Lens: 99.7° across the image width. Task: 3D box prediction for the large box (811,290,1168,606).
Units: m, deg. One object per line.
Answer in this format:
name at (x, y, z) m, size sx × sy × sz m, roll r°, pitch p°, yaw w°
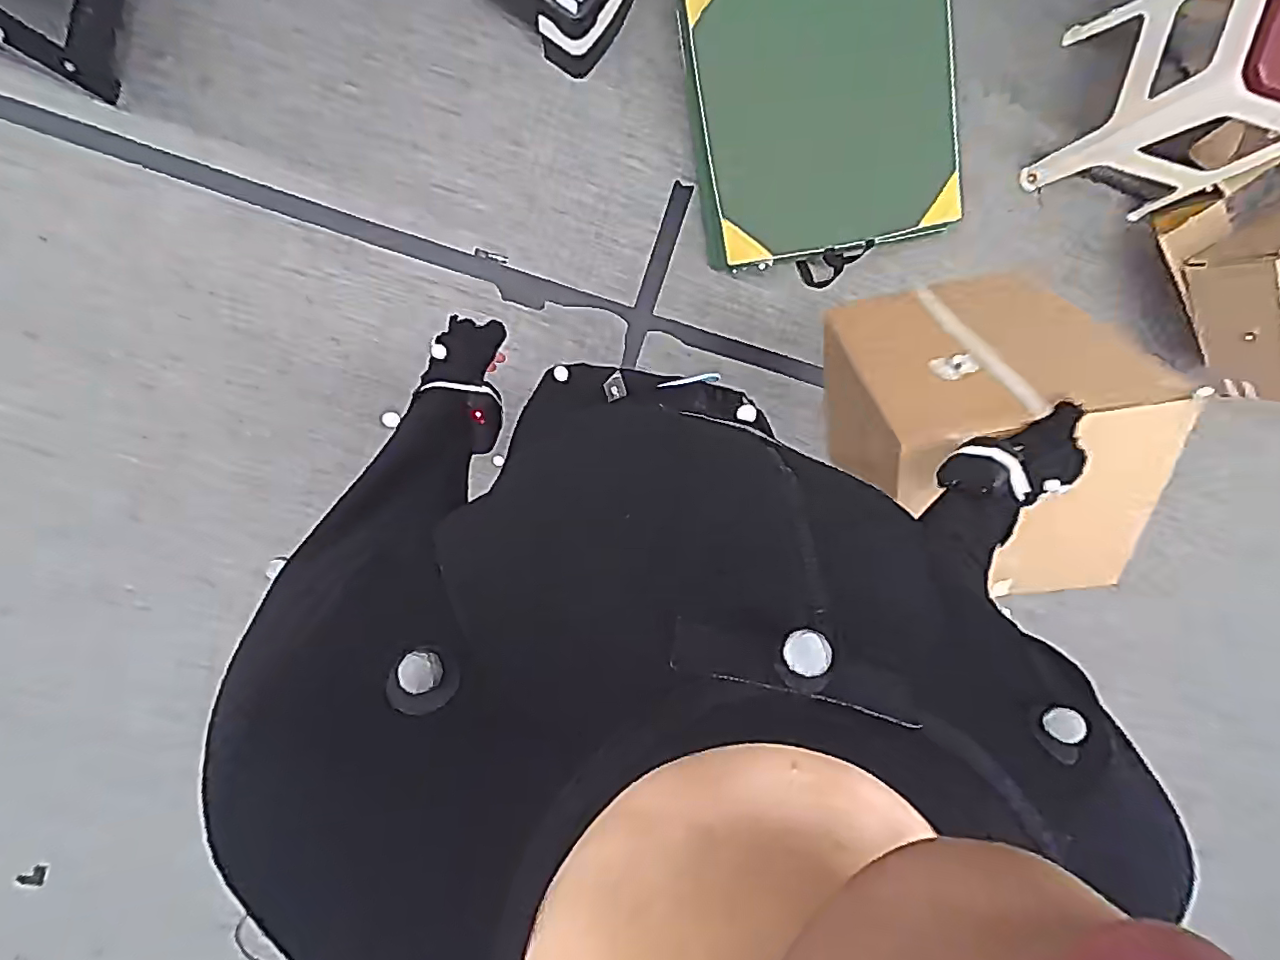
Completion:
large box at (0.479, -0.061, 0.874) m, size 0.320 × 0.408 × 0.320 m, roll -9°, pitch 129°, yaw 9°
